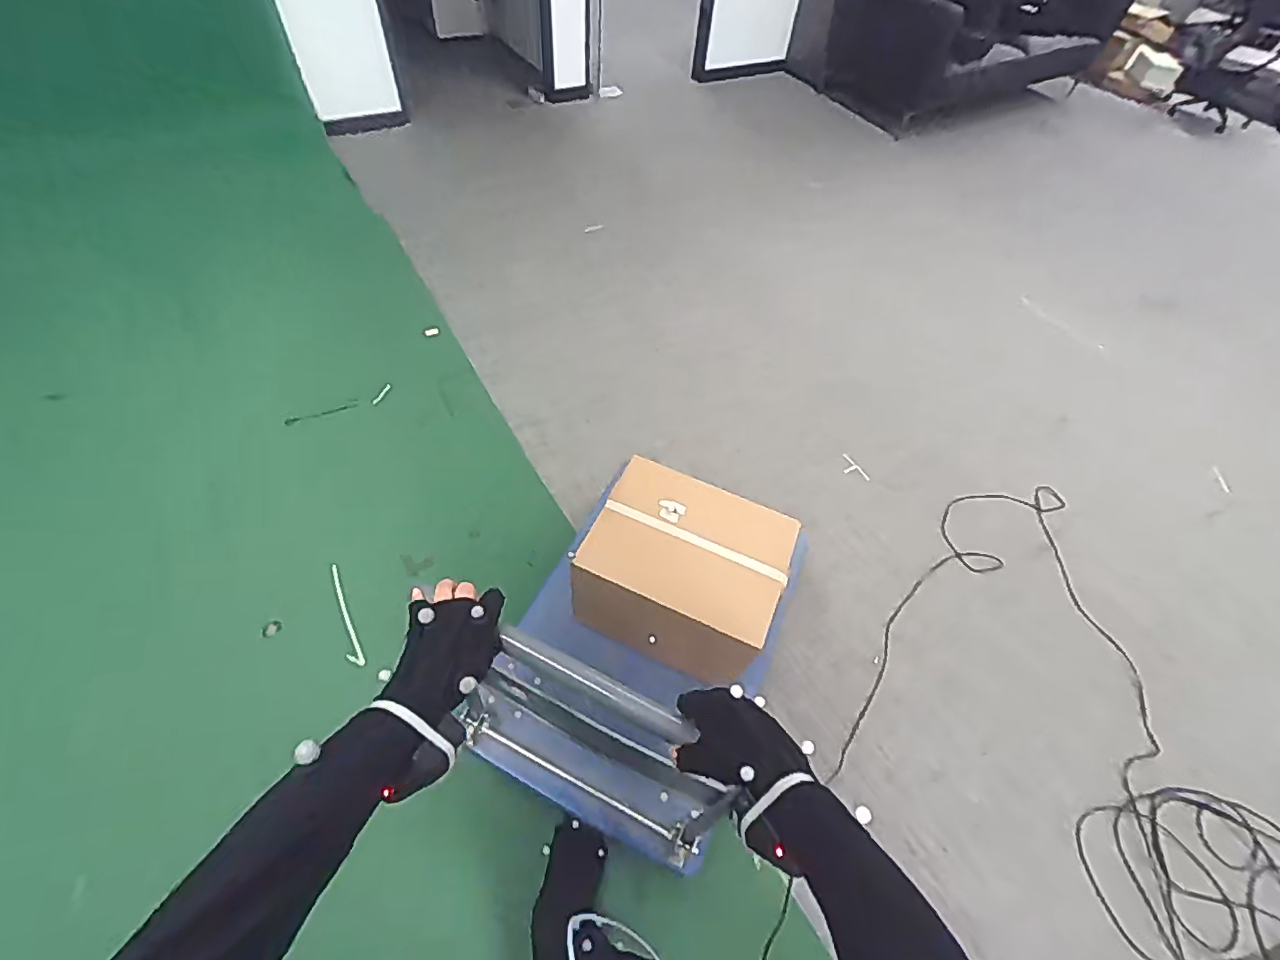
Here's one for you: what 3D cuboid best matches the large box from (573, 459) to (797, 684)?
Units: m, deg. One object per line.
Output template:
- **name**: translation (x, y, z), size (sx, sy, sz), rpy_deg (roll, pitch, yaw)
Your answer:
- **large box**: translation (0.097, 0.216, 1.254), size (0.408, 0.320, 0.320), rpy_deg (22, 55, 11)
